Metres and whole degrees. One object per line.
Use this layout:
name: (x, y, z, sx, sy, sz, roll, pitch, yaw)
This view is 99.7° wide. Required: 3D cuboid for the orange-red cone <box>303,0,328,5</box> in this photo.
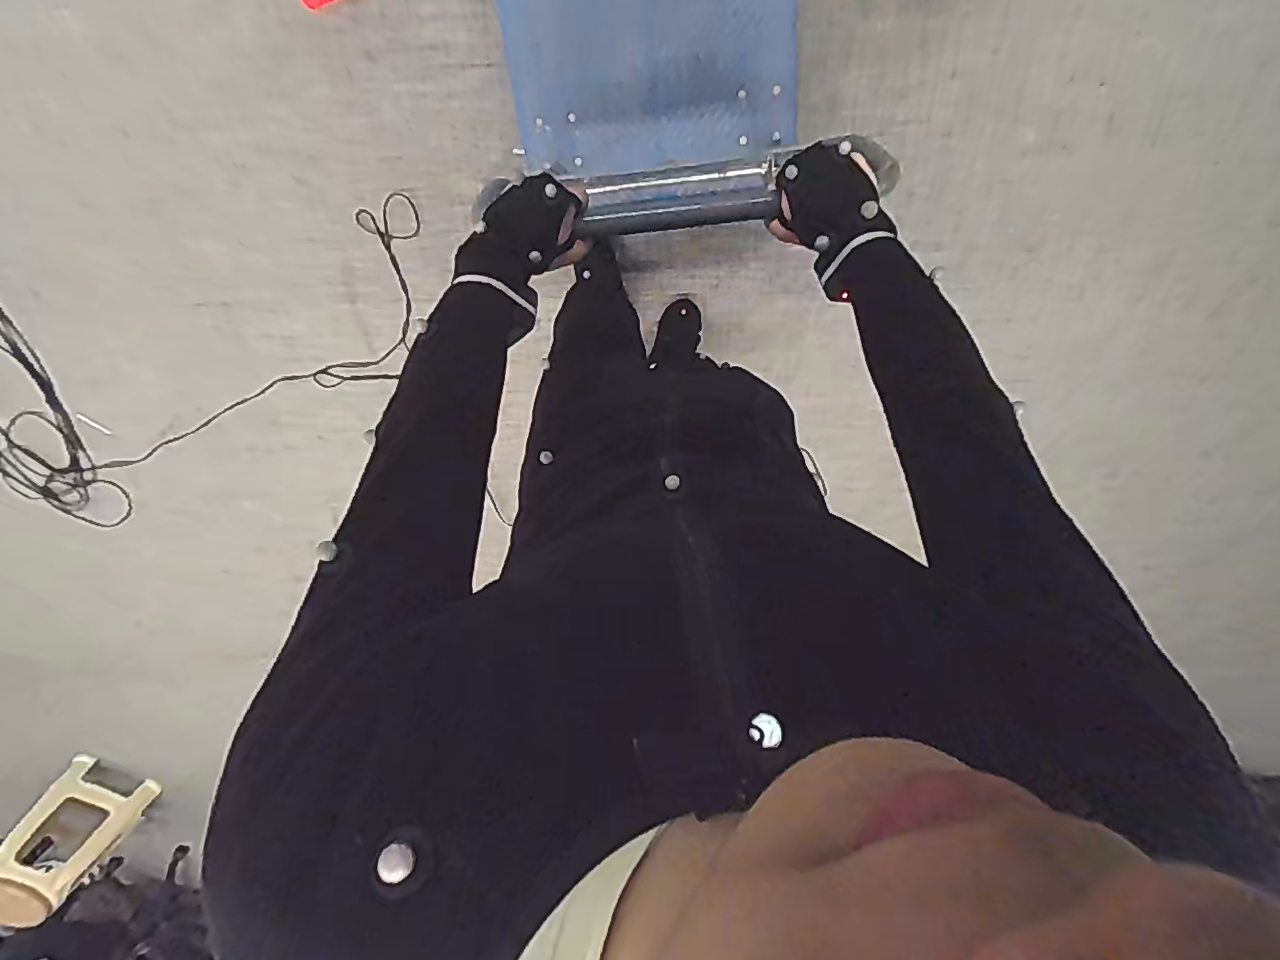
orange-red cone: (-0.660, -1.047, 0.960, 0.199, 0.360, 0.198, -13, 115, 8)
